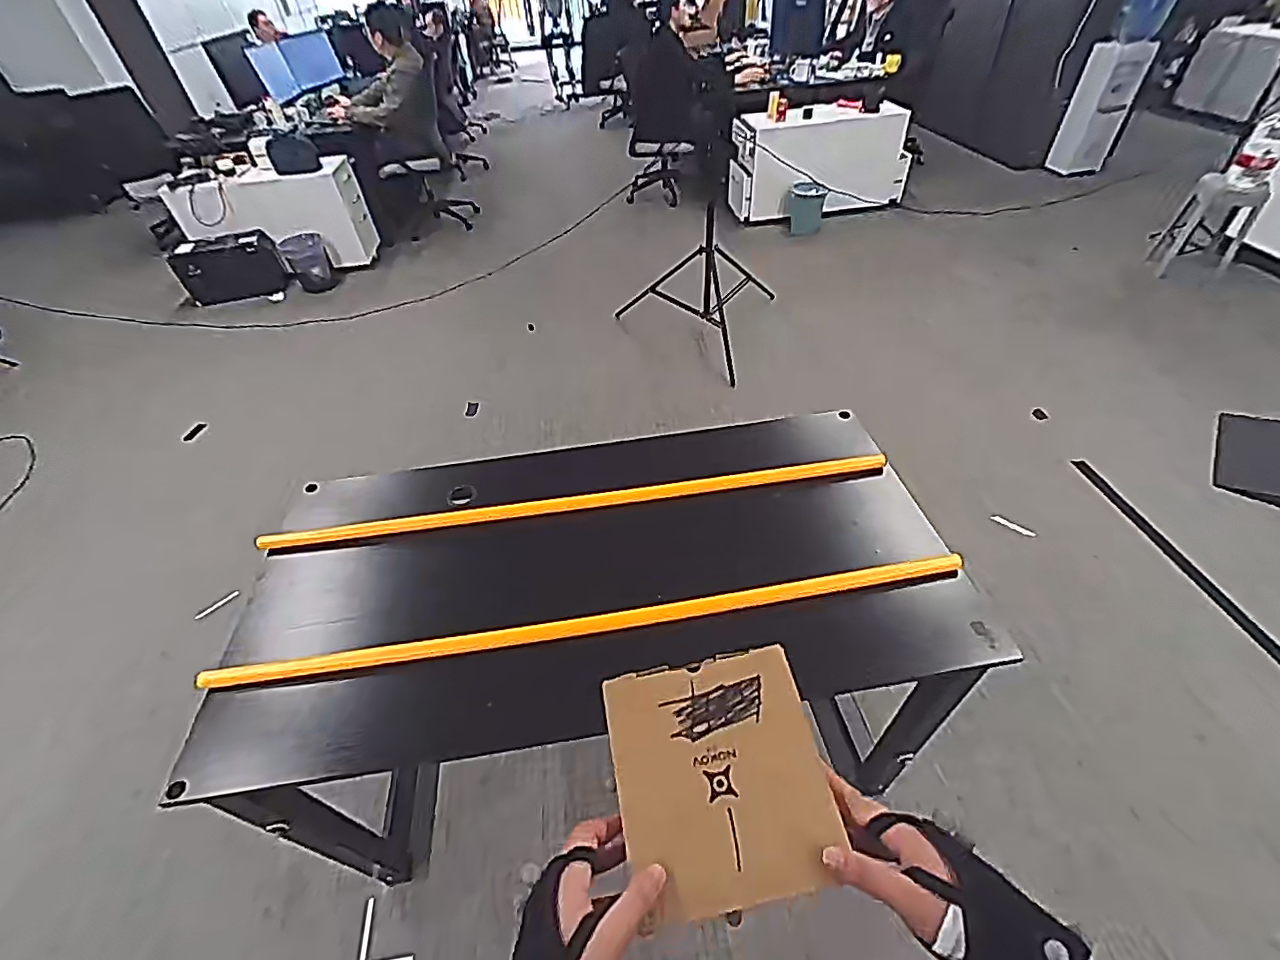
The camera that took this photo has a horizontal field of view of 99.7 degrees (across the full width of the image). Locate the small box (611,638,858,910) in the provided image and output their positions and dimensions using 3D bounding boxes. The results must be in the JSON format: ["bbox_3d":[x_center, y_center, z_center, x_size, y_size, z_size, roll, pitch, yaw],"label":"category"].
[{"bbox_3d":[0.070,0.272,0.504,0.168,0.176,0.179,-10,55,-4],"label":"small box"}]
